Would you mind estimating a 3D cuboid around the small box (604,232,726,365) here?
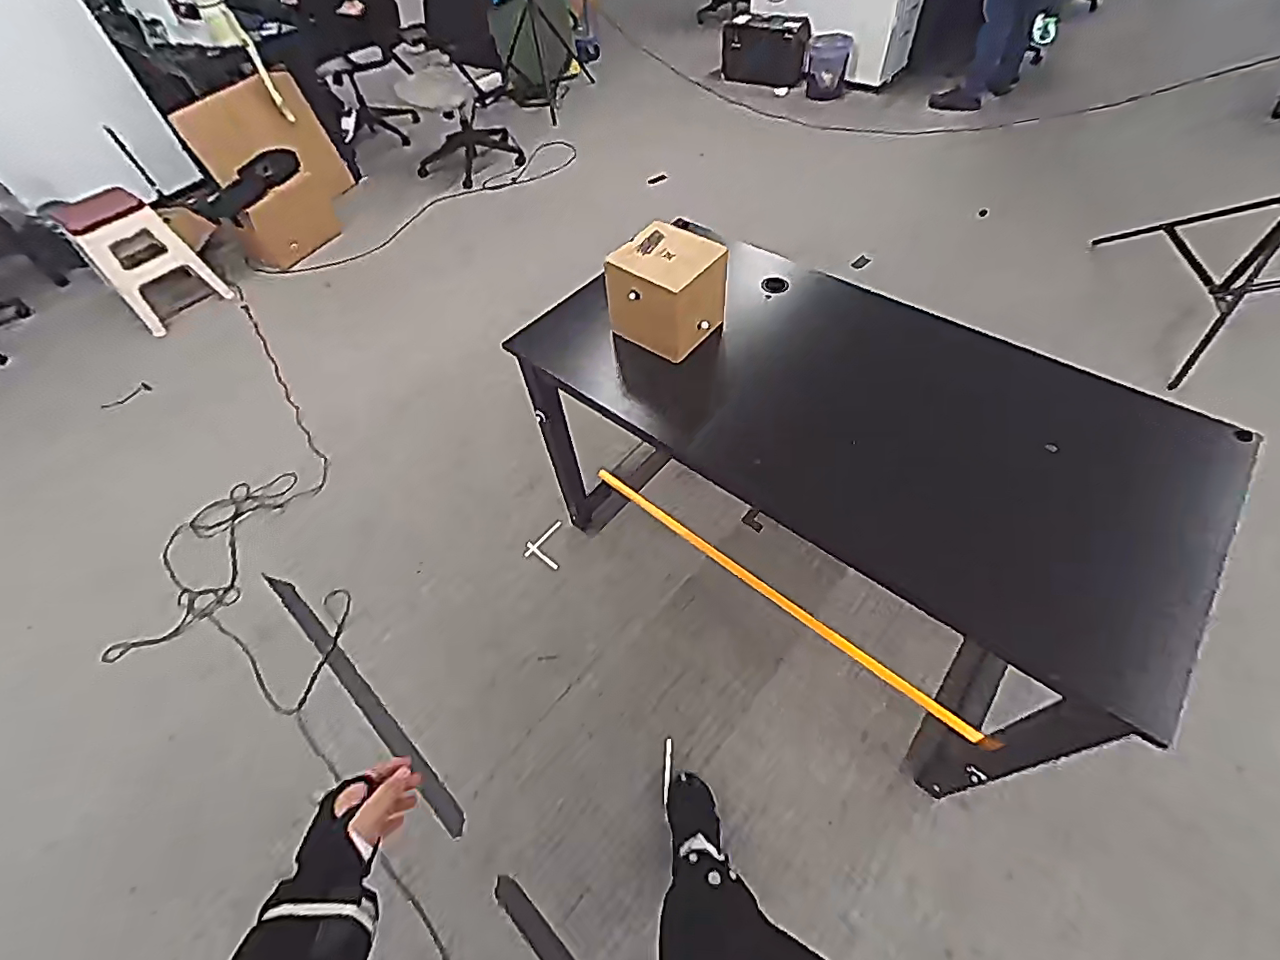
[{"bbox_3d":[0.051,-0.360,1.085,0.179,0.176,0.168,32,62,24],"label":"small box"}]
